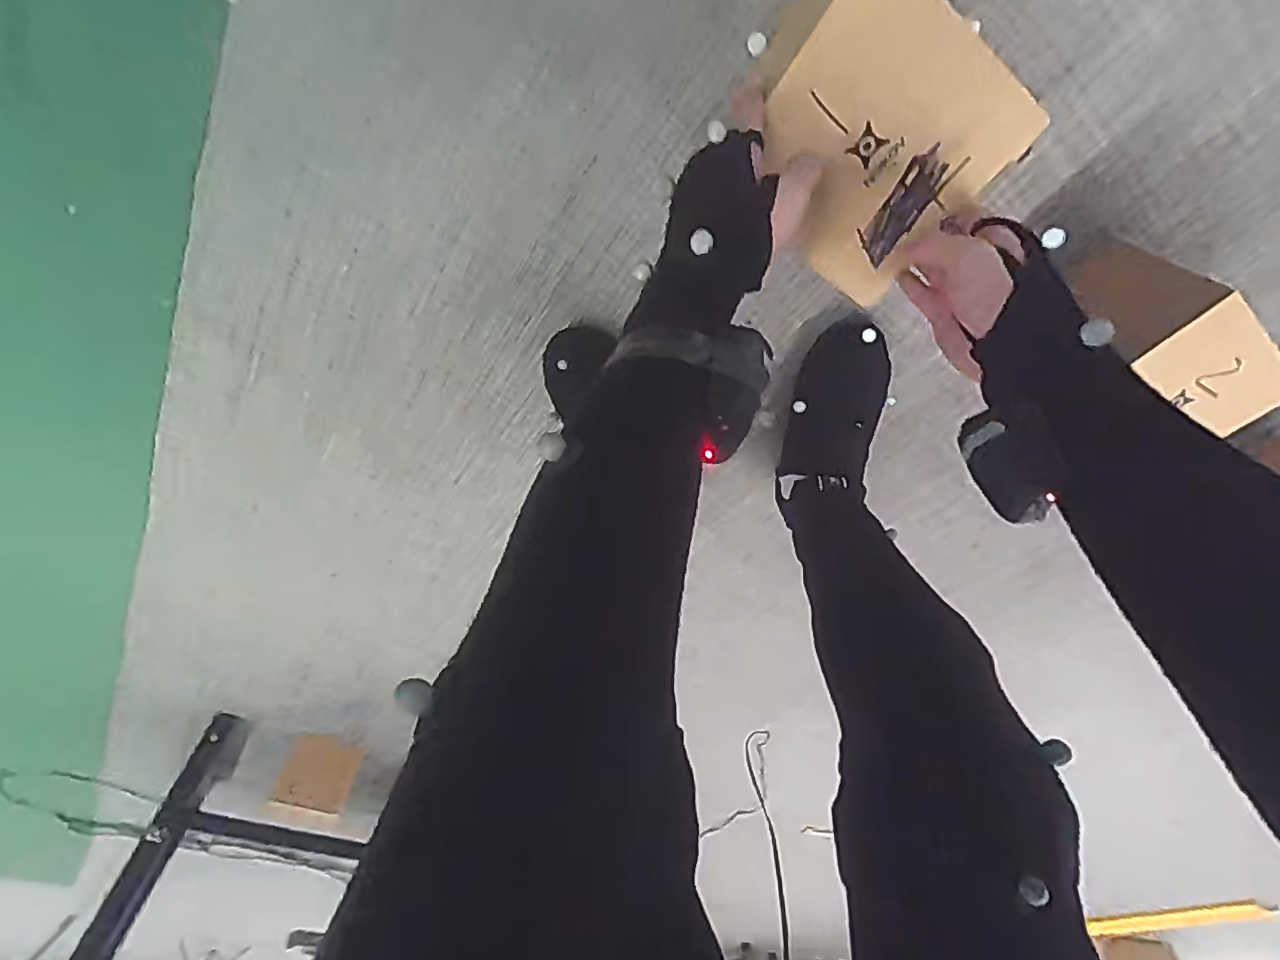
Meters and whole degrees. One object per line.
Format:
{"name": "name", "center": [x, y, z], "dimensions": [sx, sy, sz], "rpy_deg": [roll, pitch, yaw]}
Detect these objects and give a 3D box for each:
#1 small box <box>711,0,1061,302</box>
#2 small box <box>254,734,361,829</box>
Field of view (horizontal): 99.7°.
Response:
{"name": "small box", "center": [0.176, -0.287, 0.444], "dimensions": [0.179, 0.176, 0.168], "rpy_deg": [28, 126, -18]}
{"name": "small box", "center": [-0.889, 0.812, 1.459], "dimensions": [0.179, 0.176, 0.168], "rpy_deg": [30, 126, -21]}
